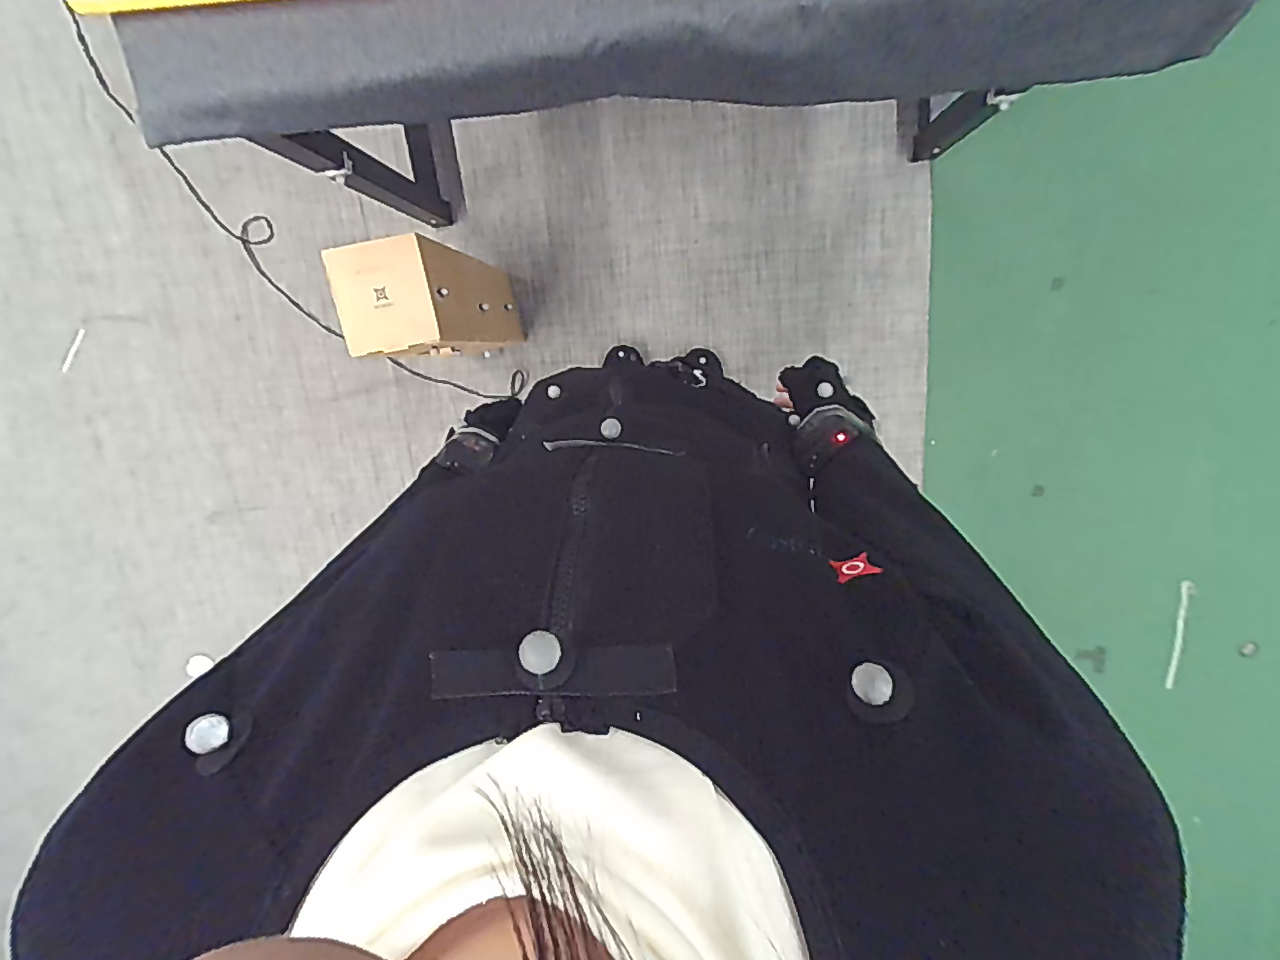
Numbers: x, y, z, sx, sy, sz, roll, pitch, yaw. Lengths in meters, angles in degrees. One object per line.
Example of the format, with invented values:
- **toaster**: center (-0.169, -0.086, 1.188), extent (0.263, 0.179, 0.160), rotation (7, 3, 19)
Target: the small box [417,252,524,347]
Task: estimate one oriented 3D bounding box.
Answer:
- **small box**: center (-0.392, -0.419, 1.280), extent (0.168, 0.176, 0.179), rotation (-11, 104, 7)
